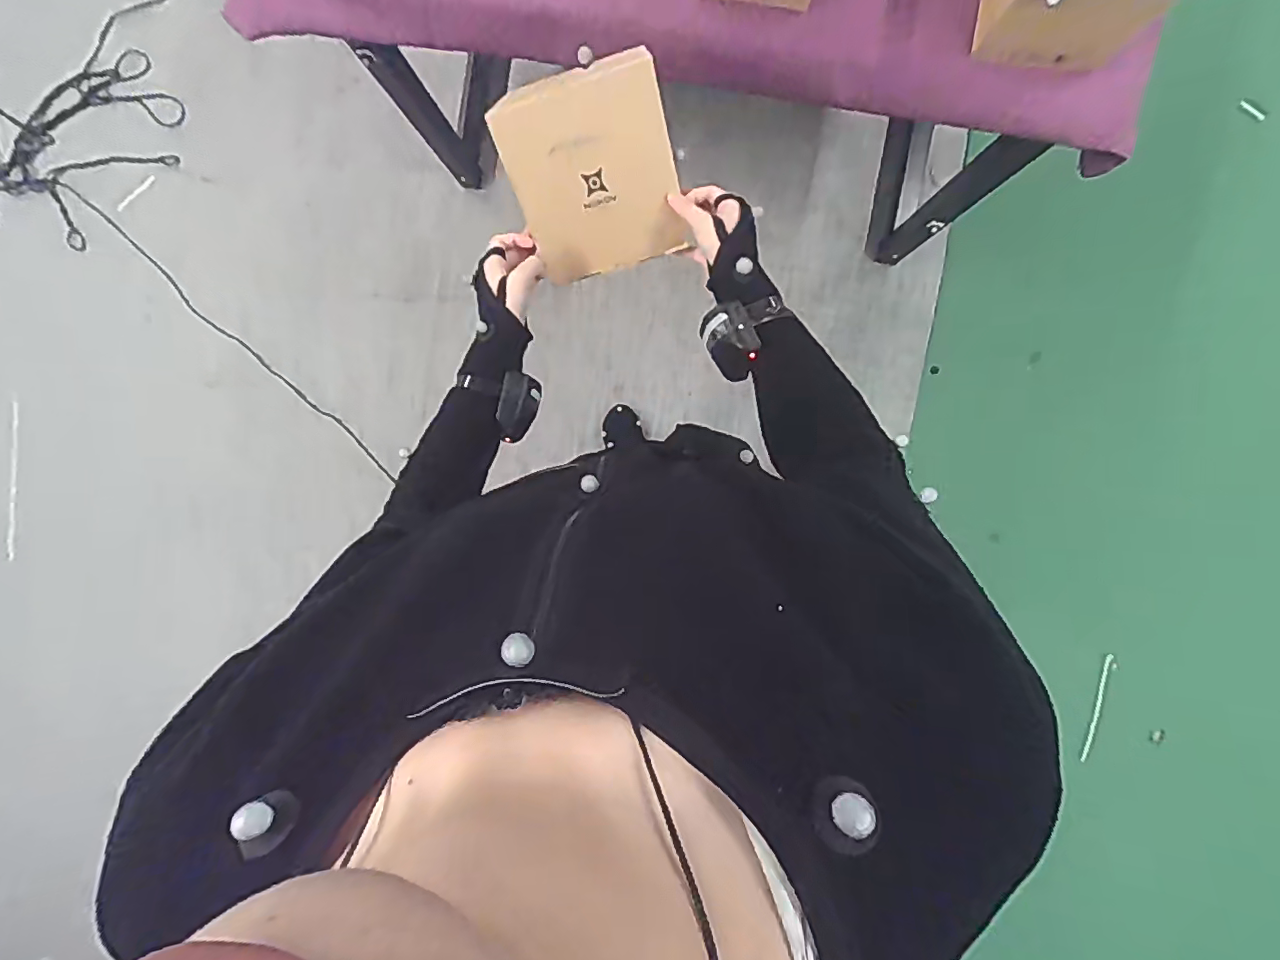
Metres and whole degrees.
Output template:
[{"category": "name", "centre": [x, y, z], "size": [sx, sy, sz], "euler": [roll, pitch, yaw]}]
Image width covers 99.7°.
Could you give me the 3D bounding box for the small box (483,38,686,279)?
[{"category": "small box", "centre": [-0.050, -0.356, 0.600], "size": [0.168, 0.176, 0.179], "euler": [-13, 131, 7]}]
